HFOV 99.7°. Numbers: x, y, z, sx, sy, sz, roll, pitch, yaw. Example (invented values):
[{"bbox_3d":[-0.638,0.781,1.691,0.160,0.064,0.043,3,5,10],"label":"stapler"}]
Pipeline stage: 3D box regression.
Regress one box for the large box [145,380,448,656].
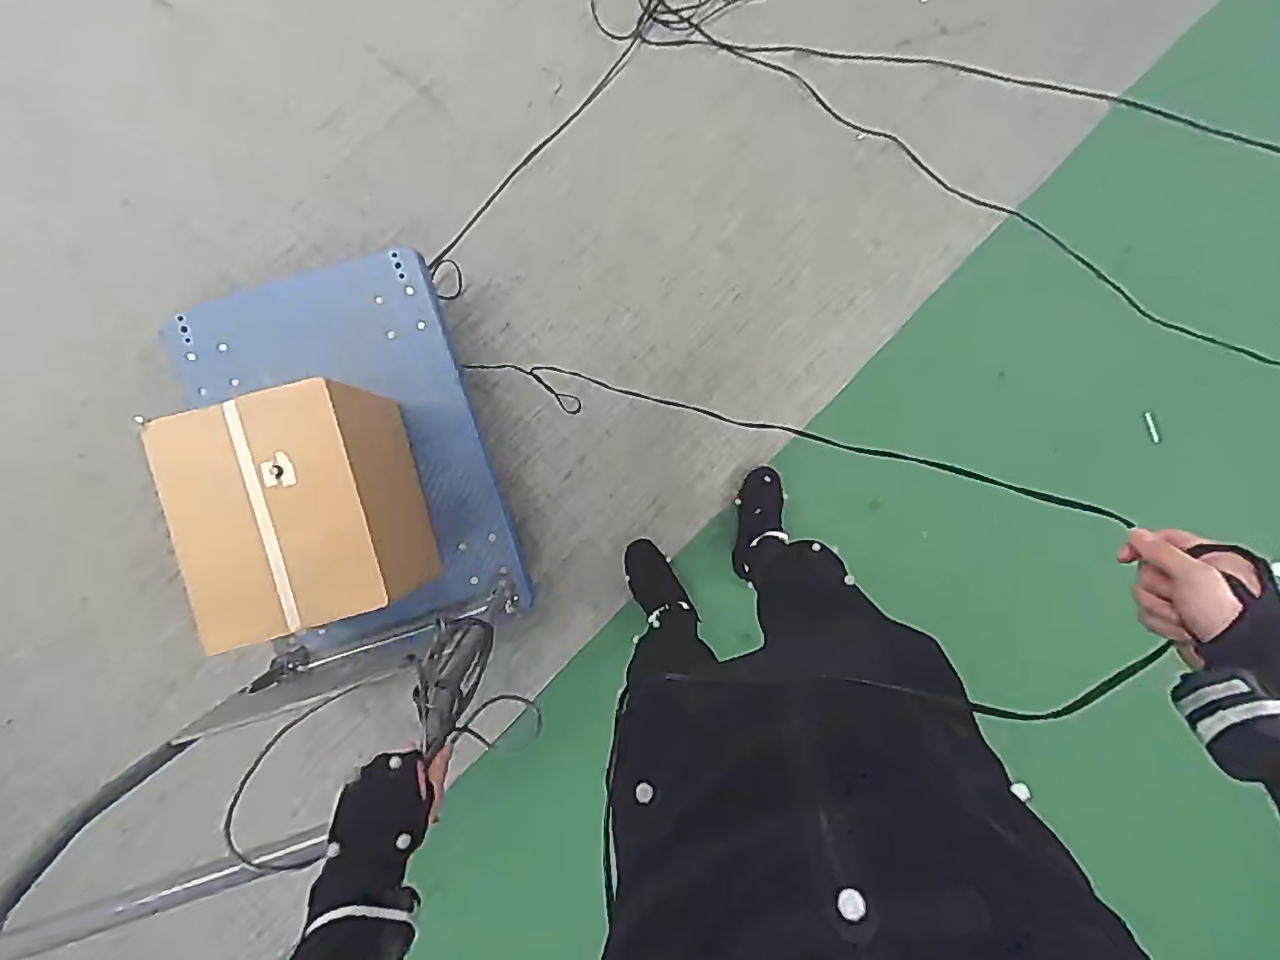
[{"bbox_3d":[-0.614,0.062,1.040,0.320,0.320,0.408,-15,91,-3],"label":"large box"}]
